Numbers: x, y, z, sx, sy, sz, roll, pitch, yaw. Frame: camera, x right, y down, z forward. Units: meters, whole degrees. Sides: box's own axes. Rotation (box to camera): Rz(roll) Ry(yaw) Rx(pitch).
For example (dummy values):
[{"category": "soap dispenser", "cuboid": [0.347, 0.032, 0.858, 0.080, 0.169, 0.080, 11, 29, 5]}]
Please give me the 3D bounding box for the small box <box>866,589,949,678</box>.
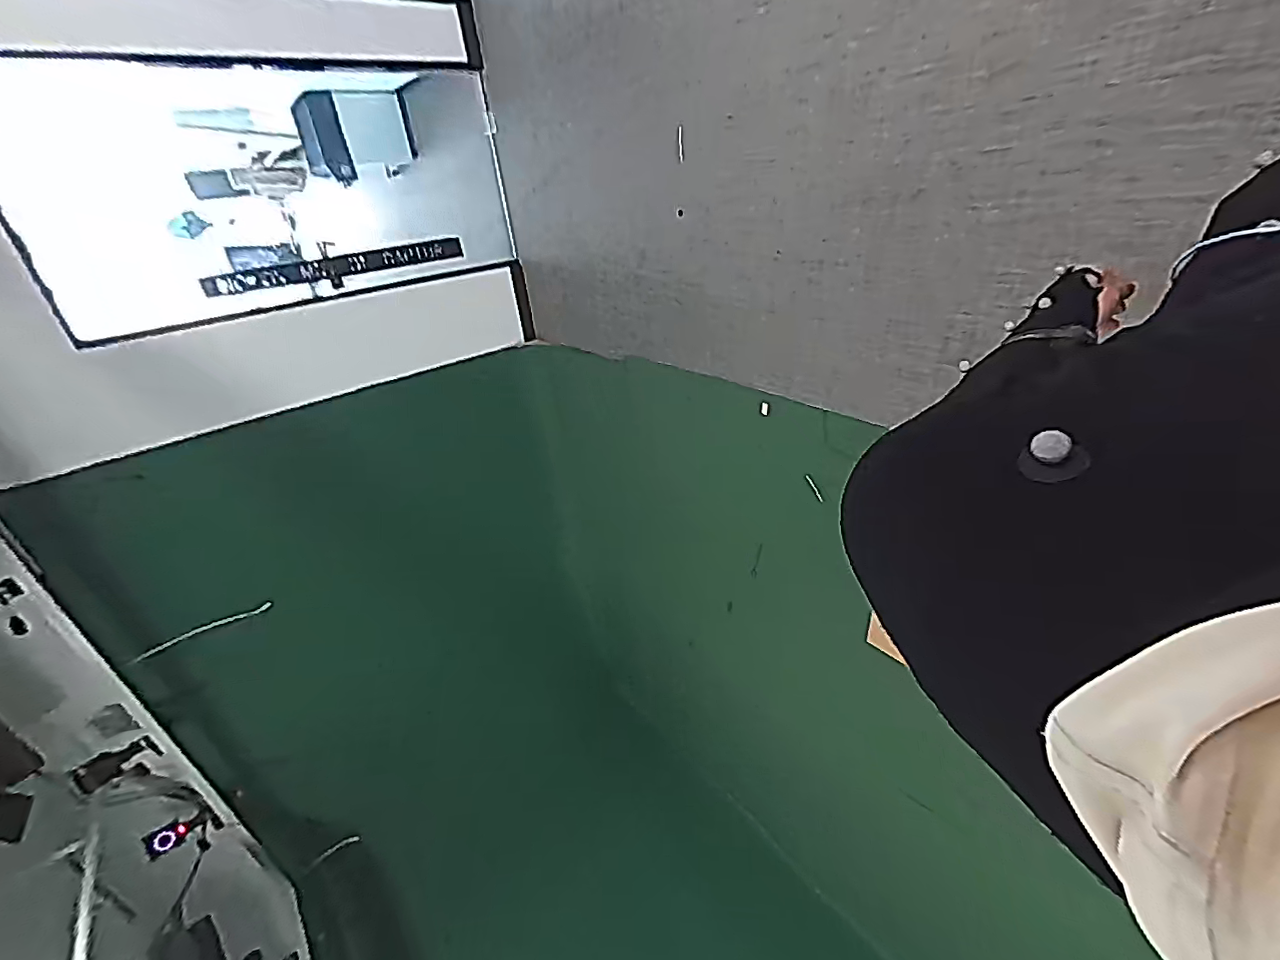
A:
[{"category": "small box", "cuboid": [0.852, 0.482, 1.721, 0.168, 0.176, 0.179, 29, 134, 43]}]
